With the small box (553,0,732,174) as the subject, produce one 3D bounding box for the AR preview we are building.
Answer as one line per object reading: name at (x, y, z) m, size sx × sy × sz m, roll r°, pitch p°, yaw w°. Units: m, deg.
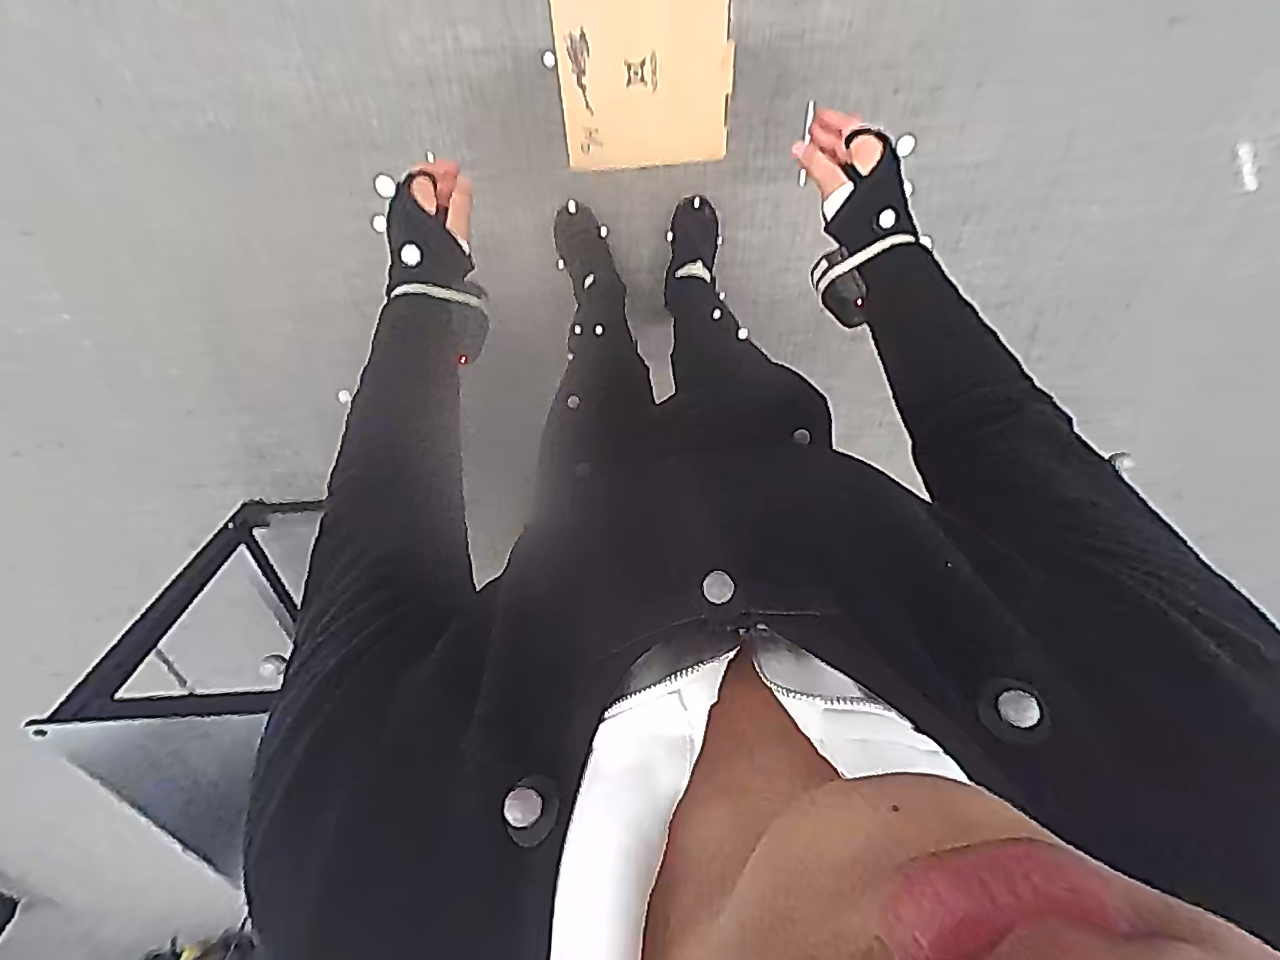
small box at (-0.002, -0.459, 0.620) m, size 0.179 × 0.176 × 0.168 m, roll -5°, pitch 126°, yaw -2°
